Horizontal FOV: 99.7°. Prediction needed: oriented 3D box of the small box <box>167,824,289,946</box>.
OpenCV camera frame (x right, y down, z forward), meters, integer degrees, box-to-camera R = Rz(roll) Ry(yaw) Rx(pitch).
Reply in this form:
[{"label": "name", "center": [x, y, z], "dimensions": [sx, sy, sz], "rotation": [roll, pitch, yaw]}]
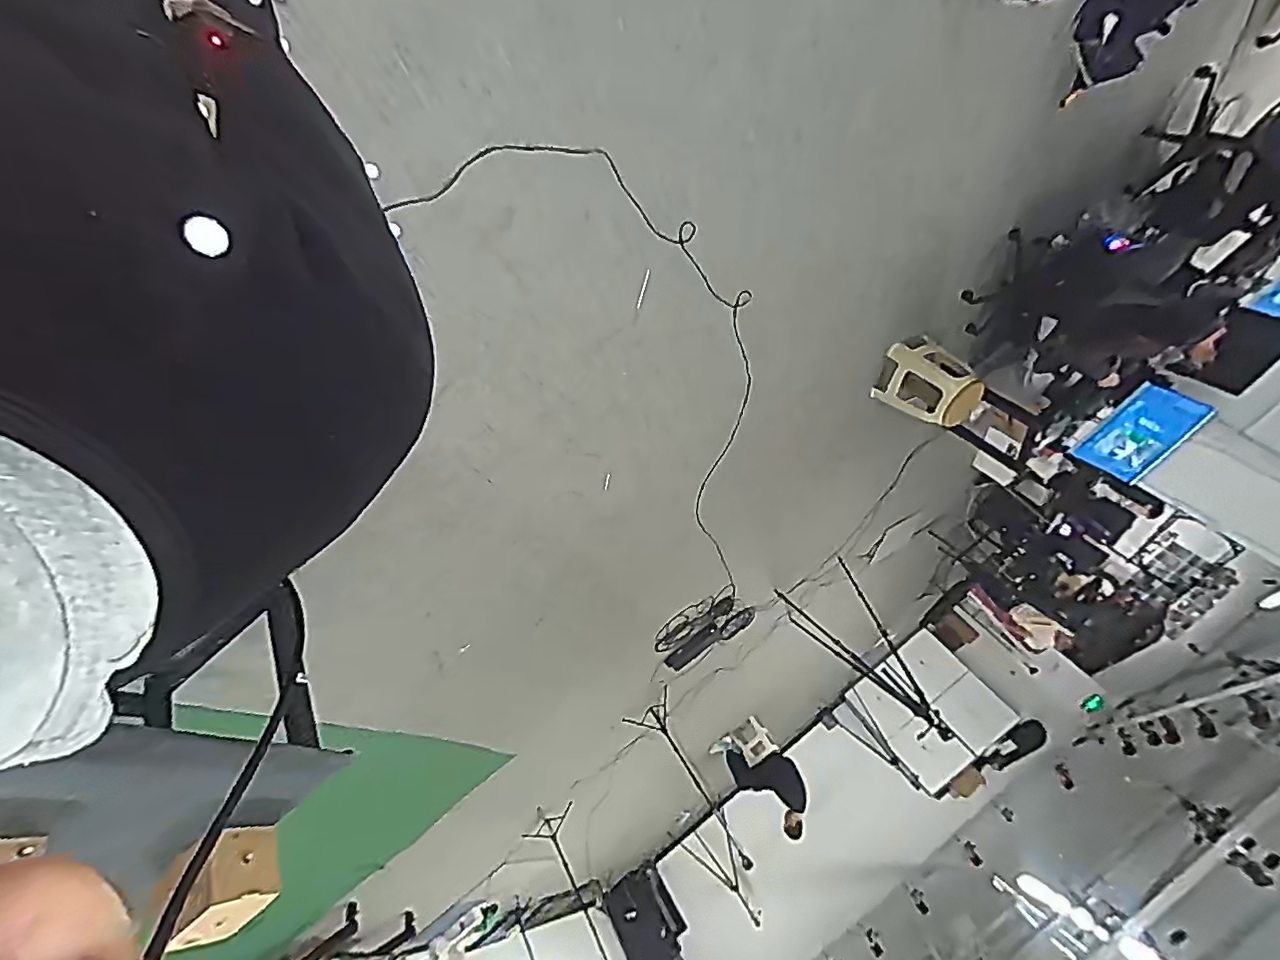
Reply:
[{"label": "small box", "center": [-1.002, 0.965, 1.312], "dimensions": [0.179, 0.176, 0.168], "rotation": [-42, 142, 0]}]
